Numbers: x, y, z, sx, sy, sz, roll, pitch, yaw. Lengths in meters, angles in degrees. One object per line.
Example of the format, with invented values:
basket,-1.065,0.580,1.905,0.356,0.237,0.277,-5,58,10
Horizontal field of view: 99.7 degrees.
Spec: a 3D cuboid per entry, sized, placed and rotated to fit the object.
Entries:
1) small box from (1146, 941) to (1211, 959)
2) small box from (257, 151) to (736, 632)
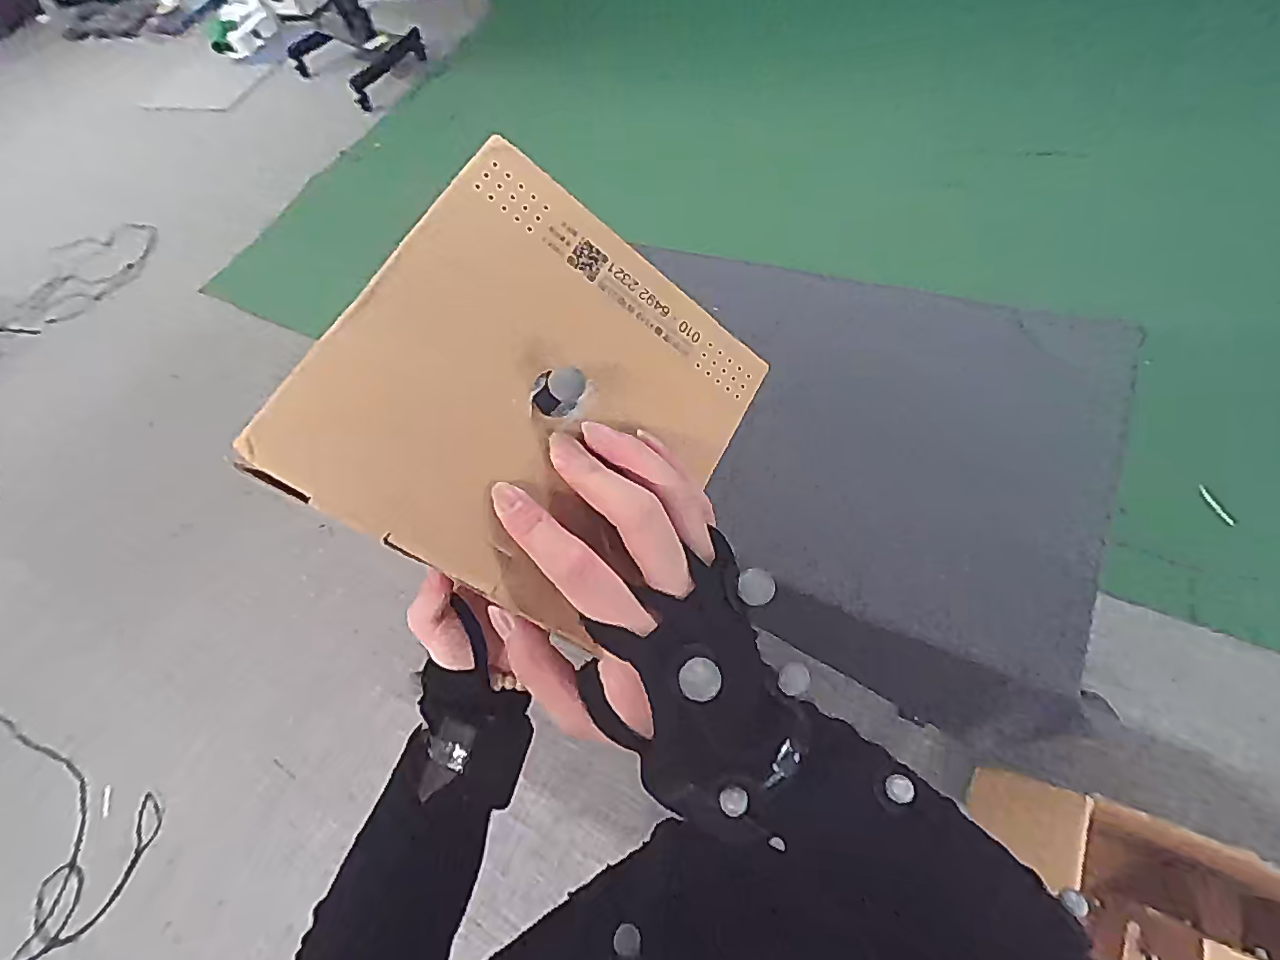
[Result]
small box,0.888,0.820,0.786,0.179,0.176,0.168,13,67,21
small box,-0.068,-0.037,0.314,0.168,0.179,0.176,36,72,-17
